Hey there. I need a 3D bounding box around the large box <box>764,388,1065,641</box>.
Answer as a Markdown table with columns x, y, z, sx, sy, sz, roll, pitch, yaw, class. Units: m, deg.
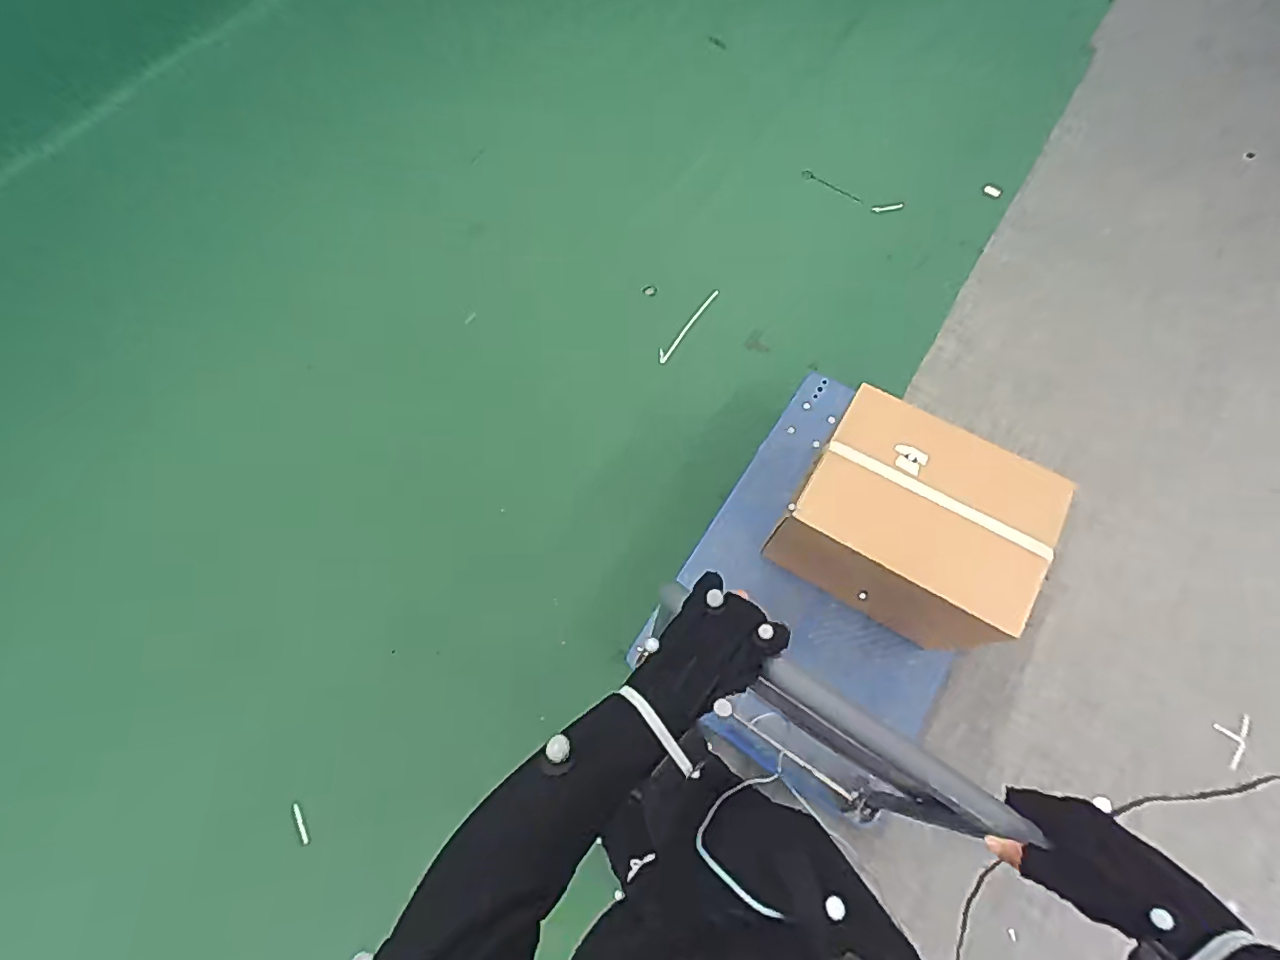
| x | y | z | sx | sy | sz | roll | pitch | yaw | class |
| --- | --- | --- | --- | --- | --- | --- | --- | --- | --- |
| 0.520 | 0.085 | 1.100 | 0.408 | 0.320 | 0.320 | 29 | 73 | 13 | large box |
